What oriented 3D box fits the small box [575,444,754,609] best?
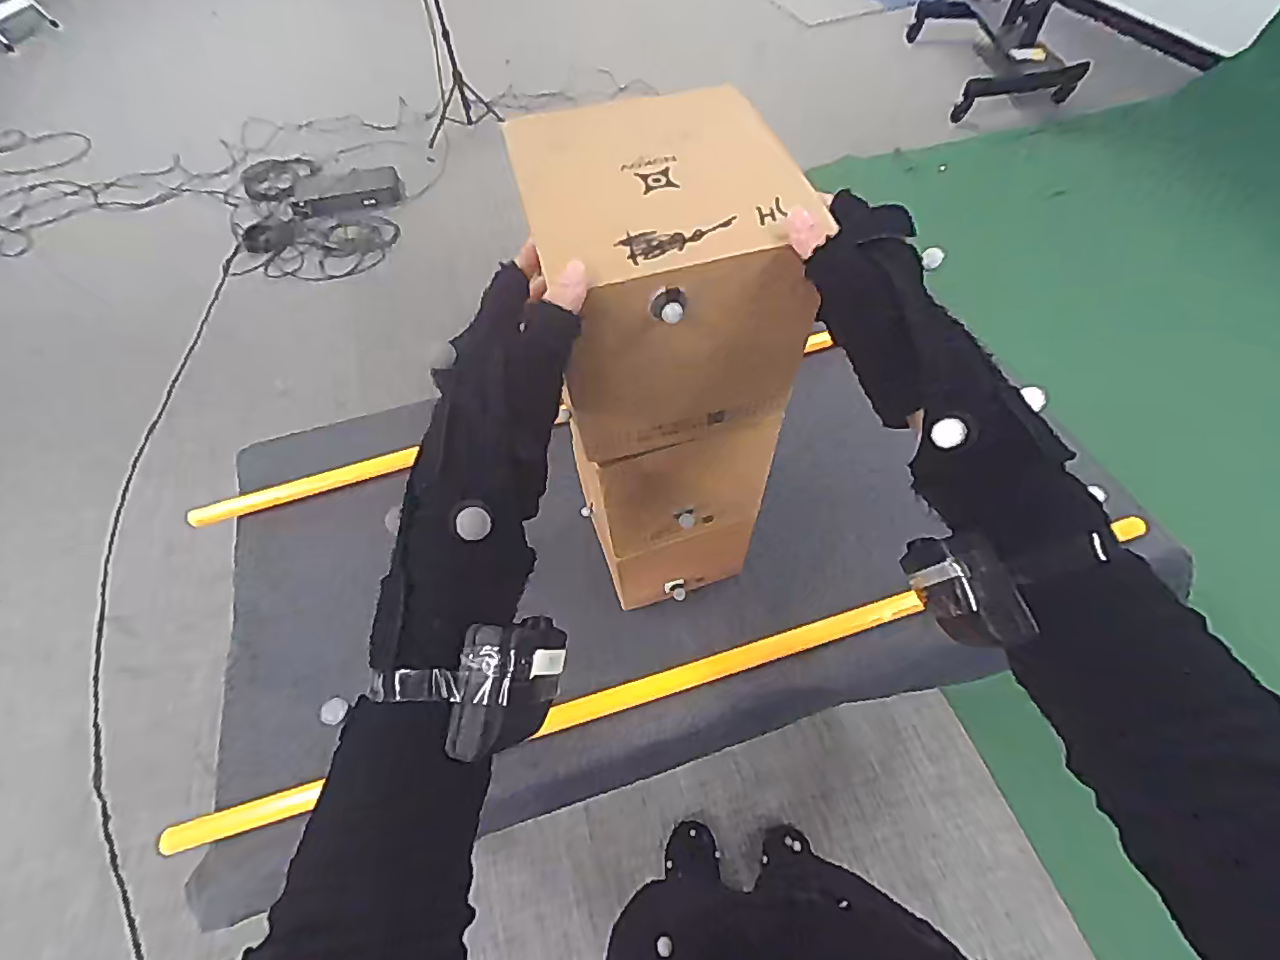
[{"bbox_3d":[0.026,0.038,0.692,0.168,0.176,0.179,-18,59,-7],"label":"small box"}]

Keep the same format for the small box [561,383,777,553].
[{"bbox_3d":[0.018,-0.053,0.555,0.168,0.176,0.179,-17,58,-7],"label":"small box"}]

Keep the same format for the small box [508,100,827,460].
[{"bbox_3d":[0.010,-0.143,0.407,0.168,0.176,0.179,-15,60,-6],"label":"small box"}]
